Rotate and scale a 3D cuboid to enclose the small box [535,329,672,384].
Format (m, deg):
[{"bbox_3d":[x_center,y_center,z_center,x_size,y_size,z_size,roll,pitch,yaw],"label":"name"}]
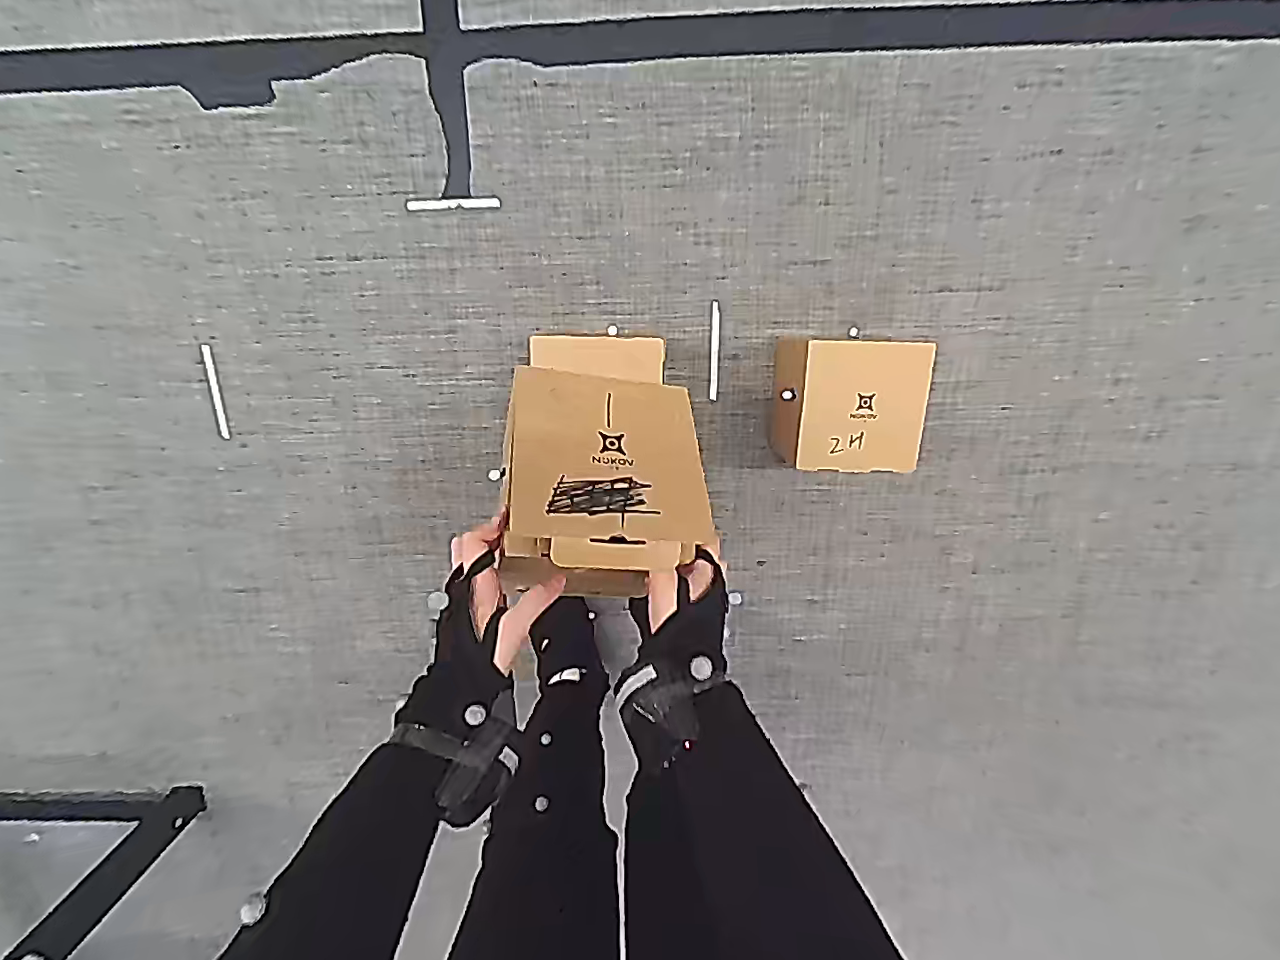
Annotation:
[{"bbox_3d":[-0.051,-0.129,0.781,0.179,0.176,0.168,2,106,-1],"label":"small box"}]

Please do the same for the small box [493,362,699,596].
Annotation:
[{"bbox_3d":[-0.051,0.013,0.531,0.168,0.176,0.179,6,67,-16],"label":"small box"}]

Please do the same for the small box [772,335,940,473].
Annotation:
[{"bbox_3d":[0.296,-0.117,0.783,0.168,0.176,0.179,2,107,0],"label":"small box"}]
